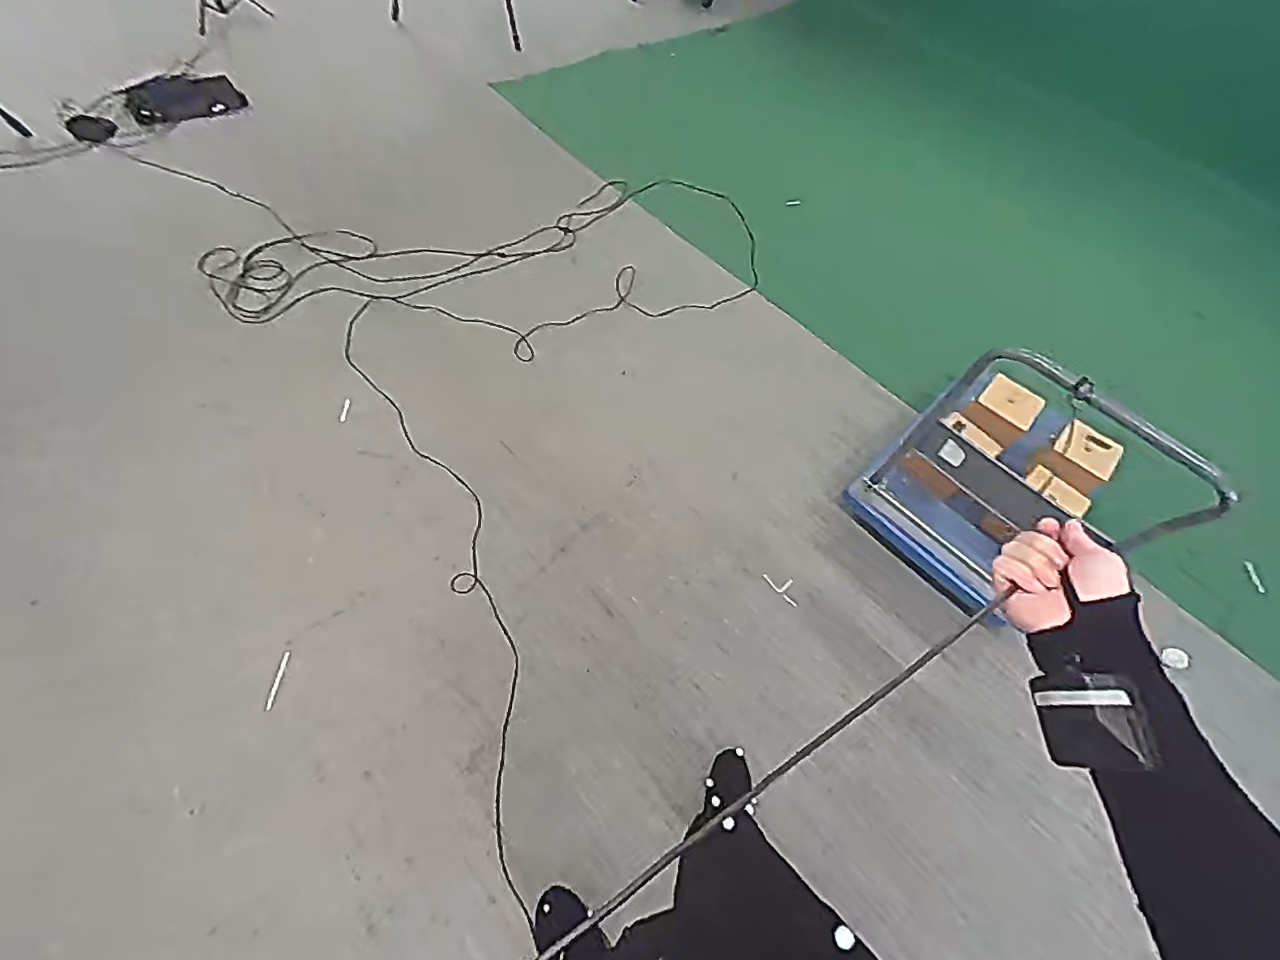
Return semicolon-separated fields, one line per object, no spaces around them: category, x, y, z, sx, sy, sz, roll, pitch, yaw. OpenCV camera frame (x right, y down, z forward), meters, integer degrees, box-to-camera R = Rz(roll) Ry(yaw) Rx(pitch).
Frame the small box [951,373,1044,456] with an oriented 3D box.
small box;1.164;-0.210;1.779;0.168;0.176;0.179;41;63;16

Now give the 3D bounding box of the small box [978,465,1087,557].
small box;1.149;0.094;1.596;0.179;0.176;0.168;-36;69;-23

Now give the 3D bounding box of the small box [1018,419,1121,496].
small box;1.347;-0.054;1.706;0.168;0.176;0.179;41;64;18
